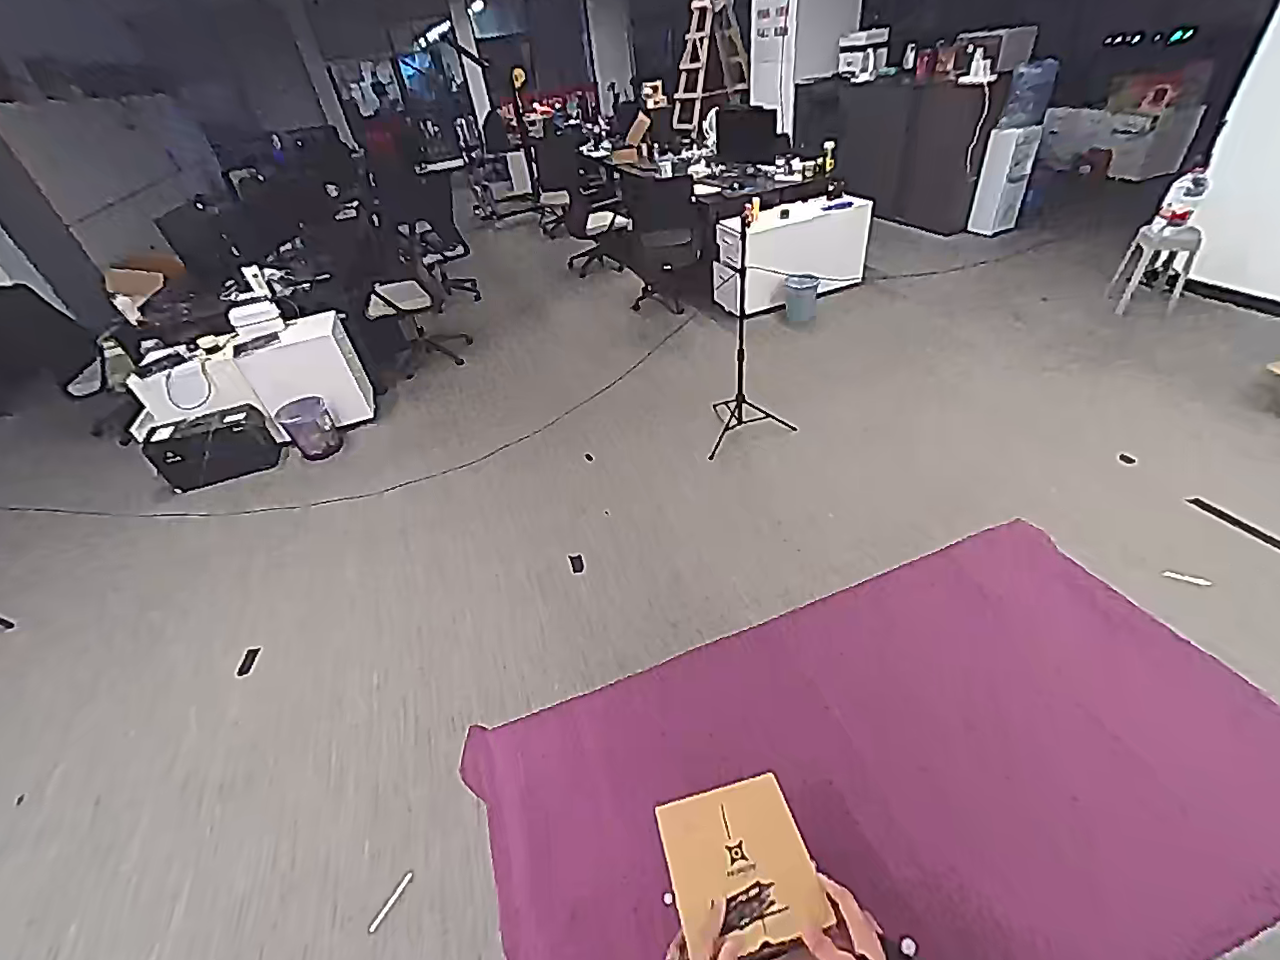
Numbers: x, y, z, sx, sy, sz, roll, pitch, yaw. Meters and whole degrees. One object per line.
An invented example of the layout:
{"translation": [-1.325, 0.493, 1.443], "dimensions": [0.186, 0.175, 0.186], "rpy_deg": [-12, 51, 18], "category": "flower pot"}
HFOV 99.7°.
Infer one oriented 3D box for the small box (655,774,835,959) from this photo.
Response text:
{"translation": [0.125, 0.518, 0.686], "dimensions": [0.168, 0.176, 0.179], "rpy_deg": [-13, 38, -6], "category": "small box"}
